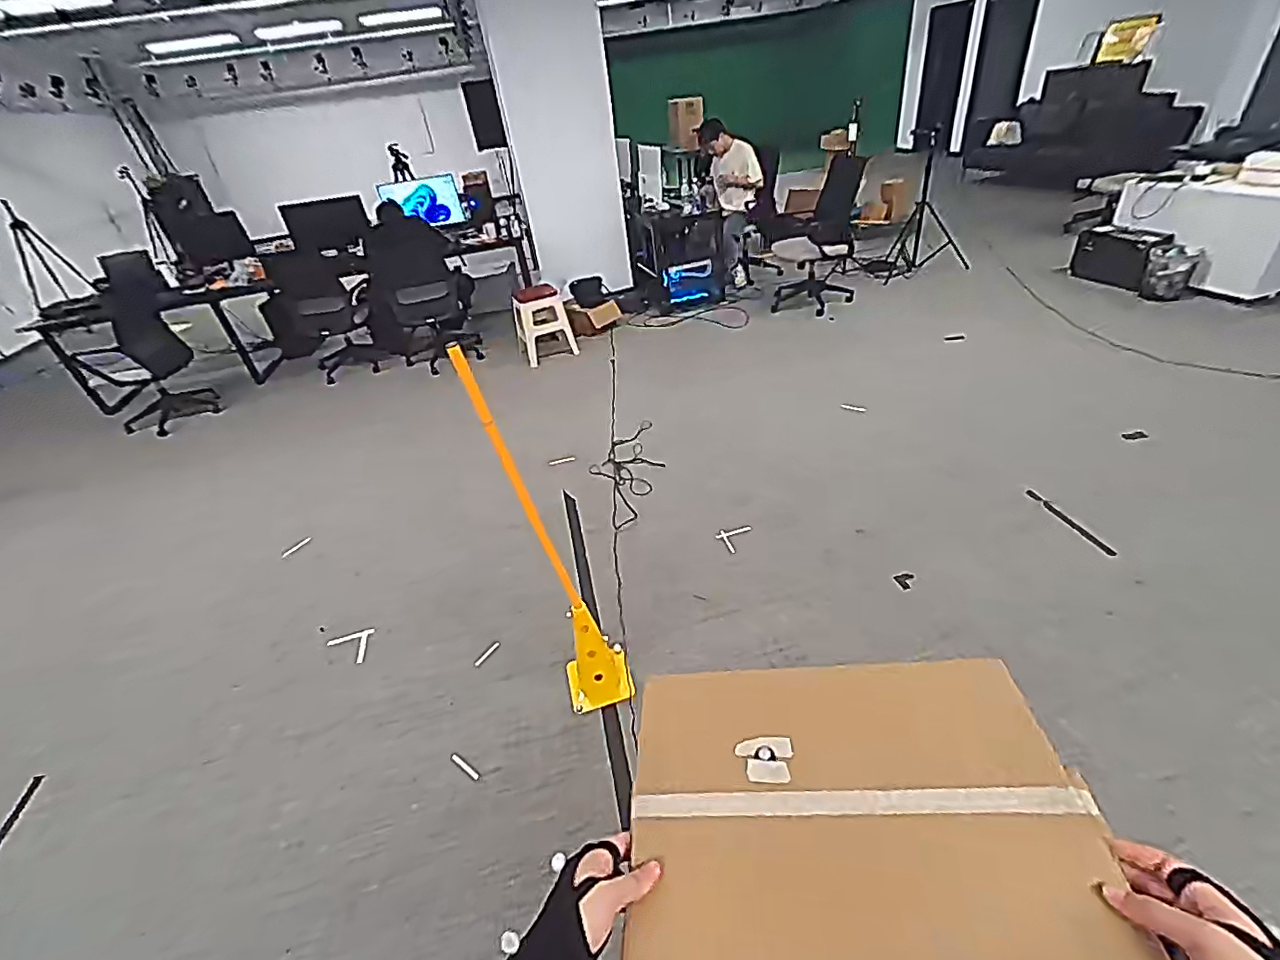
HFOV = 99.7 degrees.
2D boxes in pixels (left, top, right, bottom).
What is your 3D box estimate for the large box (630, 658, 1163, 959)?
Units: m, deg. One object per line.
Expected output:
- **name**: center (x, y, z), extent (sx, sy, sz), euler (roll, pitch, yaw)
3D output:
- **large box**: center (0.228, 0.435, 0.596), extent (0.408, 0.320, 0.320), euler (-8, 31, 11)
